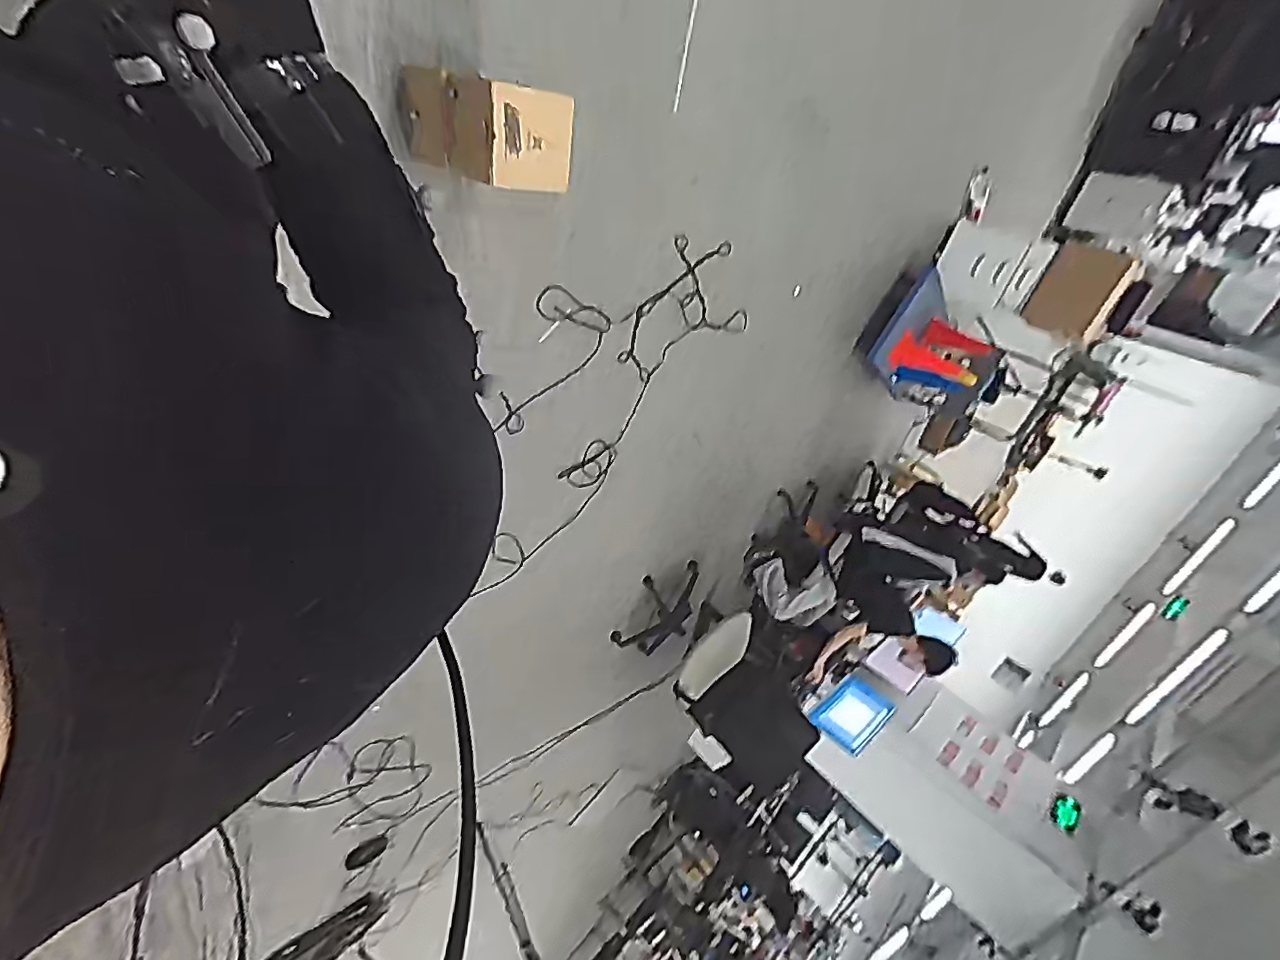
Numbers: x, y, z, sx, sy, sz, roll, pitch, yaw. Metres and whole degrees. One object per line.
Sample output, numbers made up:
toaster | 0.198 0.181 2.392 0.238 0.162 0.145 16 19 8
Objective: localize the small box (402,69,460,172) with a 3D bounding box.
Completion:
small box | -0.377 -0.753 1.144 0.179 0.176 0.168 -21 133 -38

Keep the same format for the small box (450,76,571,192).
small box | -0.259 -0.675 1.060 0.179 0.176 0.168 -21 134 -40
